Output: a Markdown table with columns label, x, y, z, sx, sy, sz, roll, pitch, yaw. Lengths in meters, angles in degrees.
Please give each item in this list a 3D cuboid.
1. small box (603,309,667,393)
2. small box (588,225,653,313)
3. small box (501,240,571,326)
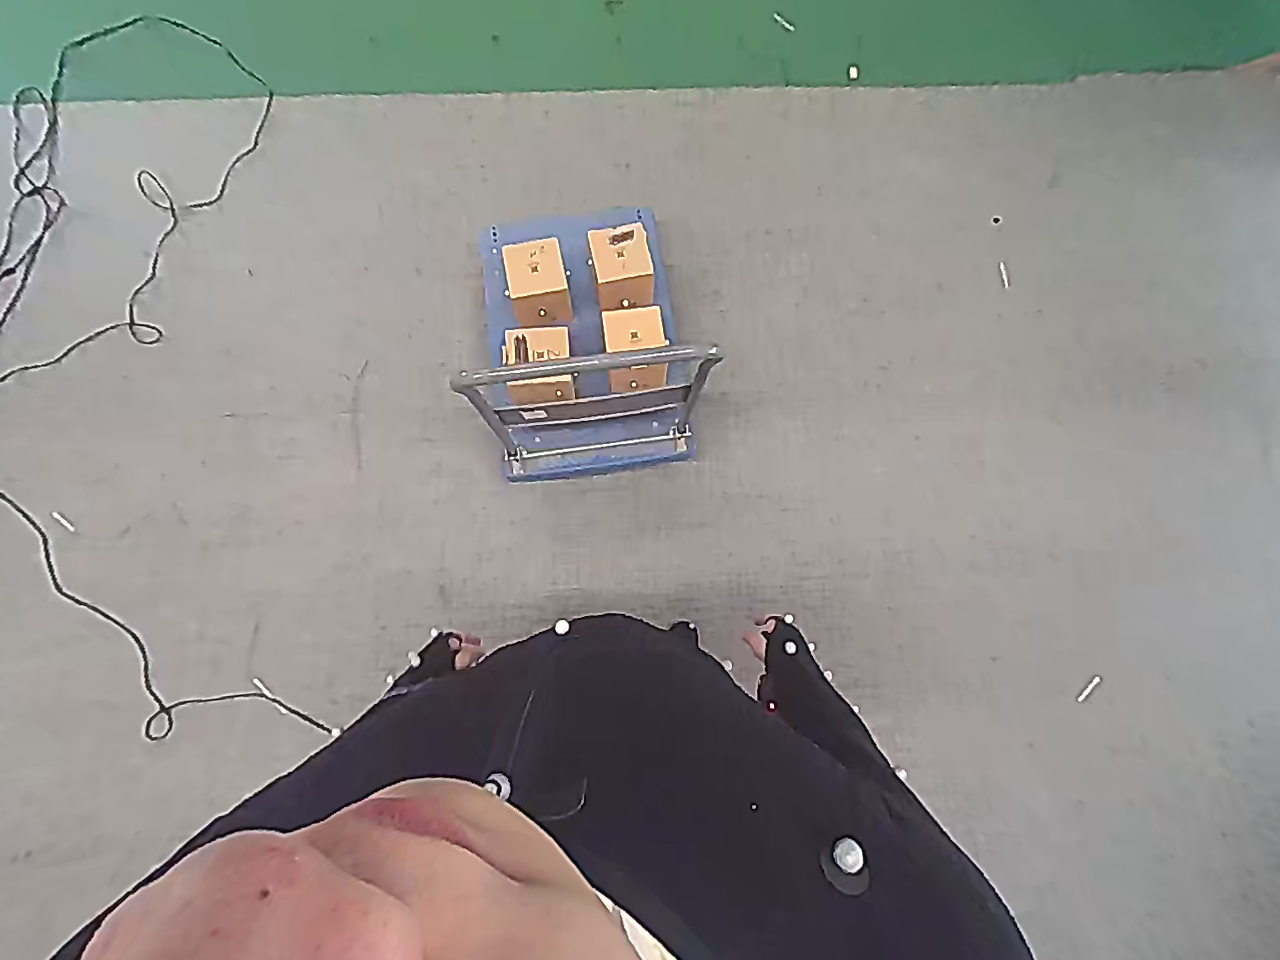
| label | x | y | z | sx | sy | sz | roll | pitch | yaw |
| --- | --- | --- | --- | --- | --- | --- | --- | --- | --- |
| small box | -0.019 | -0.371 | 1.571 | 0.168 | 0.176 | 0.179 | -7 | 77 | -3 |
| small box | -0.060 | -0.631 | 1.632 | 0.168 | 0.176 | 0.179 | -12 | 78 | -3 |
| small box | -0.305 | -0.578 | 1.614 | 0.168 | 0.176 | 0.179 | -11 | 77 | -5 |
